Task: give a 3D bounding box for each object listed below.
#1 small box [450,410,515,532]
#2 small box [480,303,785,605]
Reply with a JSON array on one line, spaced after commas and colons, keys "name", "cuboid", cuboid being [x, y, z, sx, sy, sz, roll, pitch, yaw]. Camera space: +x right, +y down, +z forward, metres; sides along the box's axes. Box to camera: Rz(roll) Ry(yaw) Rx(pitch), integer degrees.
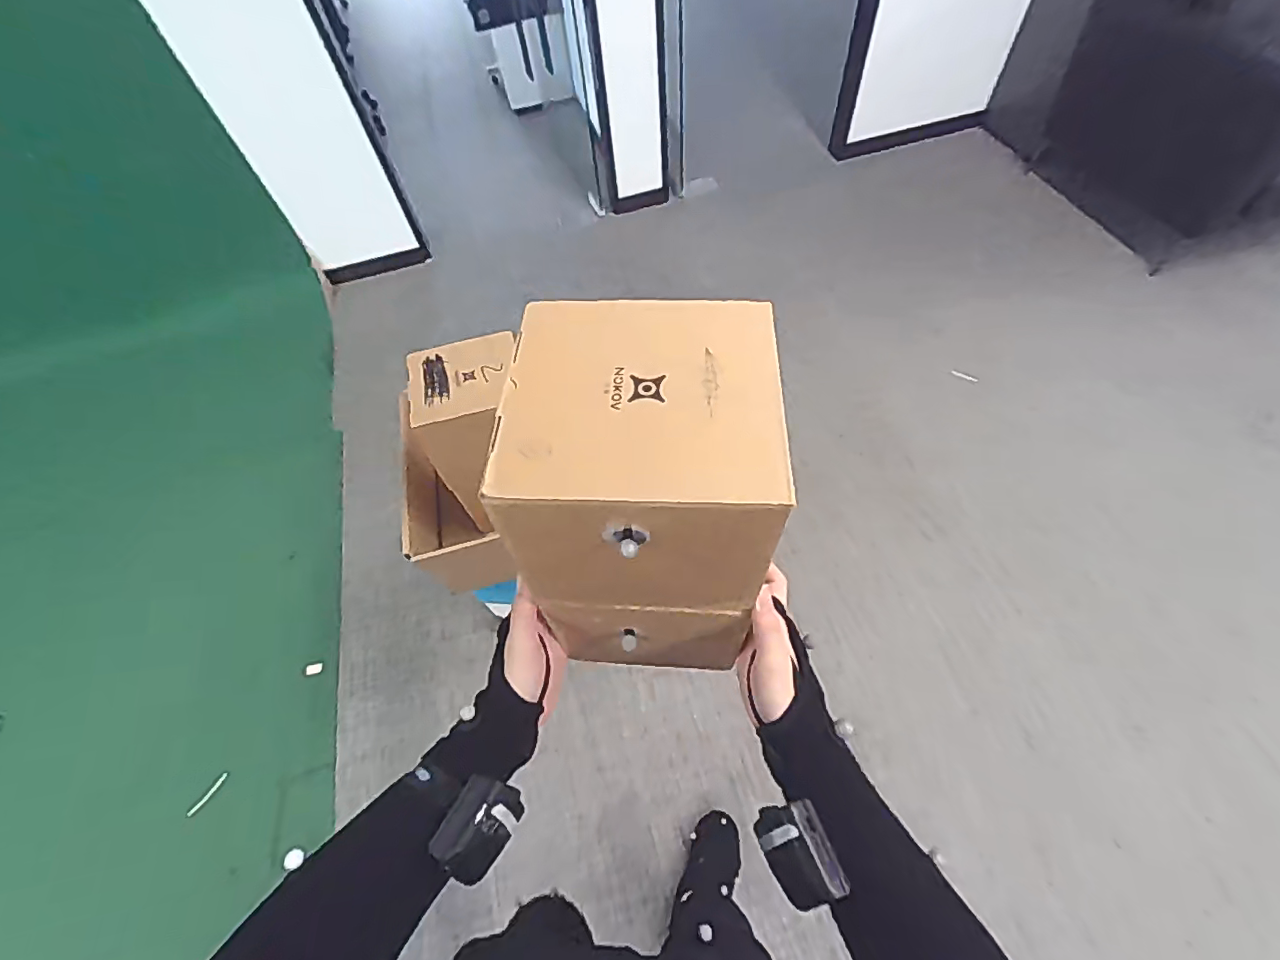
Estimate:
[{"name": "small box", "cuboid": [-0.250, -0.020, 1.050, 0.179, 0.176, 0.168, -15, 56, -6]}, {"name": "small box", "cuboid": [0.004, -0.012, 0.411, 0.179, 0.176, 0.168, 1, 57, 4]}]
